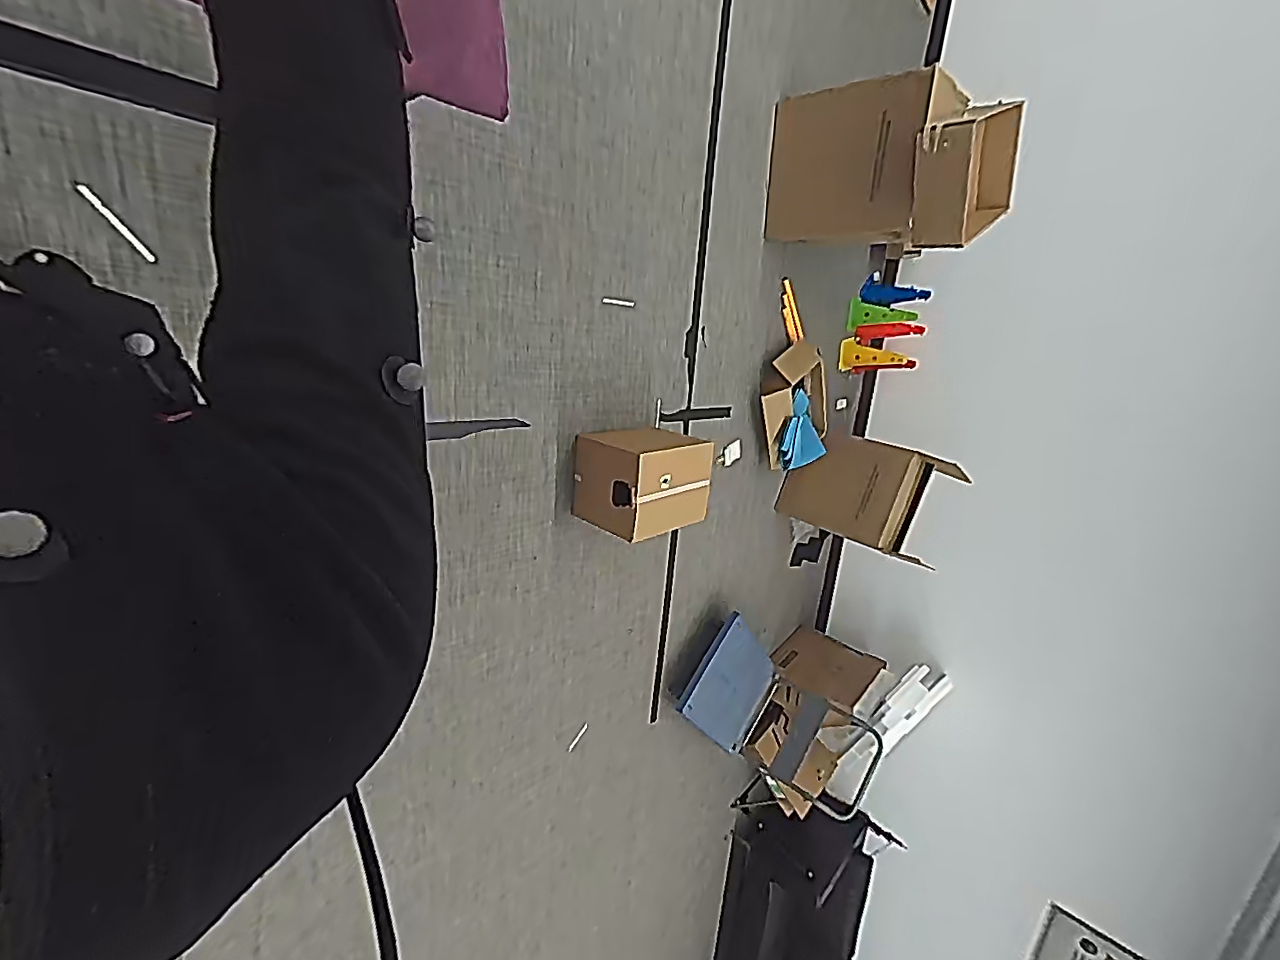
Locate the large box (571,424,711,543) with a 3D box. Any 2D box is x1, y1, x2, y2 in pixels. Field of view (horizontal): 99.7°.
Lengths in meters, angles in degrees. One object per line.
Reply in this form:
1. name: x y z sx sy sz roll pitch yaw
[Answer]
1. large box: 0.003 -0.009 1.979 0.408 0.320 0.320 -13 113 -45
